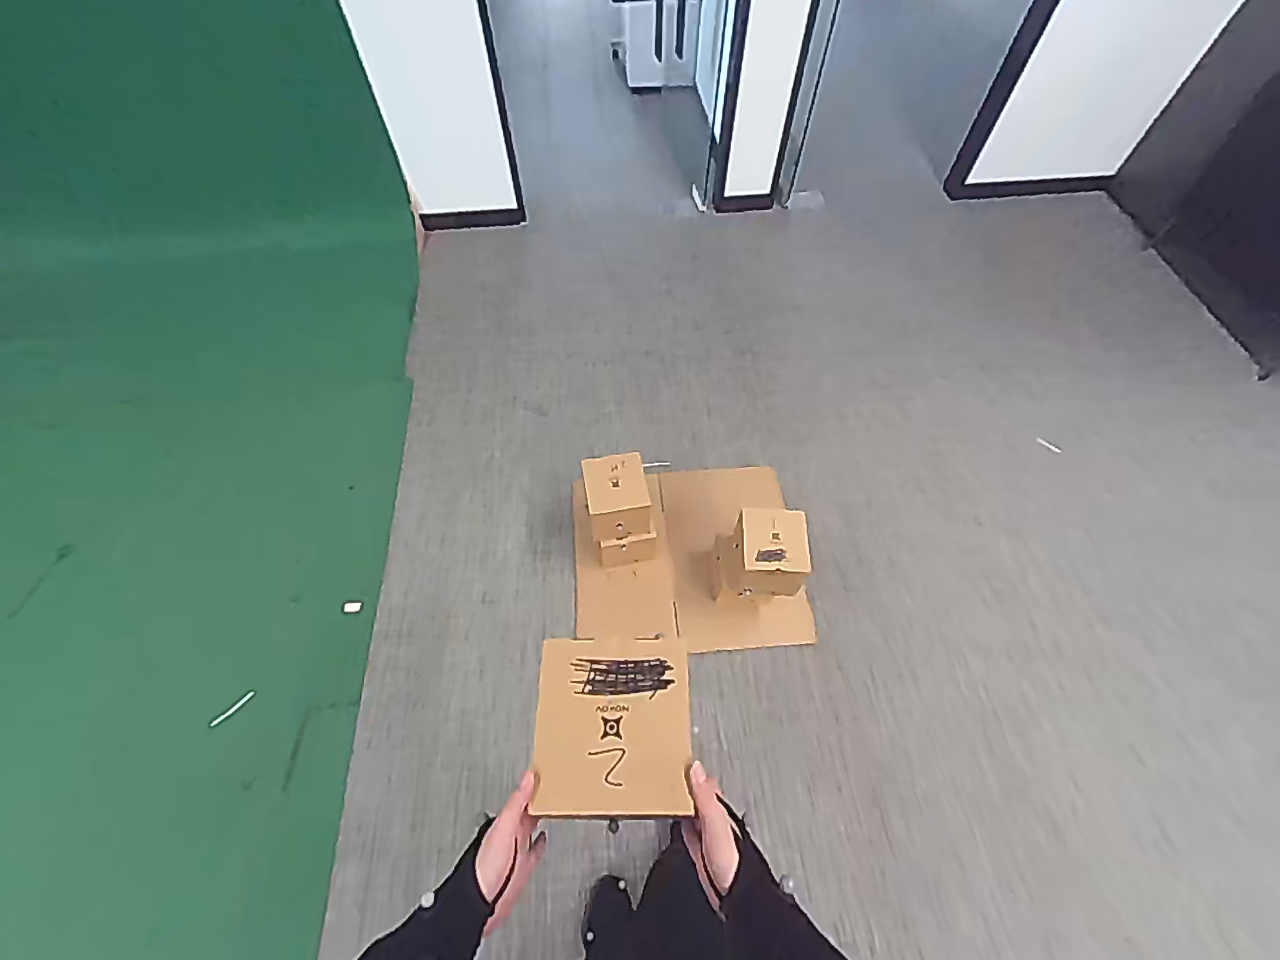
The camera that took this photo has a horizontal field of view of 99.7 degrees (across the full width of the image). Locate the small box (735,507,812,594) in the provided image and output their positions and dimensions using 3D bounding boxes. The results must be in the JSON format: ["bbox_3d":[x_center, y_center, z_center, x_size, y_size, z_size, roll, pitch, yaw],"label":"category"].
[{"bbox_3d":[0.344,0.190,1.420,0.168,0.176,0.179,3,57,2],"label":"small box"}]

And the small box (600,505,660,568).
[{"bbox_3d":[-0.041,0.145,1.641,0.168,0.176,0.179,-10,59,-6],"label":"small box"}]

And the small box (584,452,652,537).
[{"bbox_3d":[-0.061,0.048,1.507,0.168,0.176,0.179,-8,58,-6],"label":"small box"}]

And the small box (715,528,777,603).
[{"bbox_3d":[0.313,0.253,1.573,0.168,0.176,0.179,0,58,0],"label":"small box"}]
